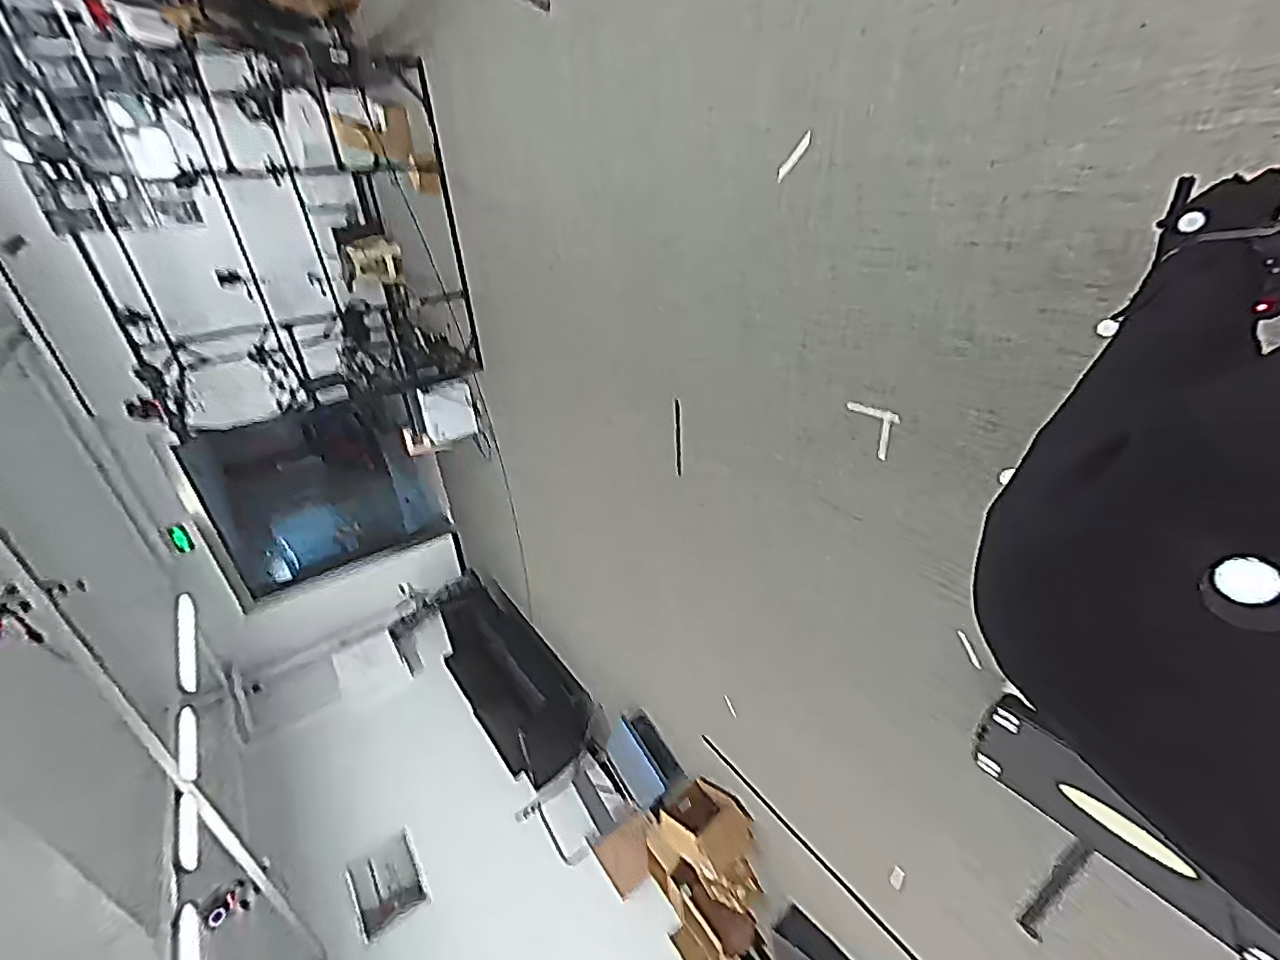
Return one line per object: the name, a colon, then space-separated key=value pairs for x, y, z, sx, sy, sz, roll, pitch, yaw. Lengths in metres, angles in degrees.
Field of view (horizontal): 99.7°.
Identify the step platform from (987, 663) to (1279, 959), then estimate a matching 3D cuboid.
step platform: x=1.238 y=0.768 z=1.297 sx=0.684 sy=0.204 sz=0.286 roll=33 pitch=135 yaw=47
